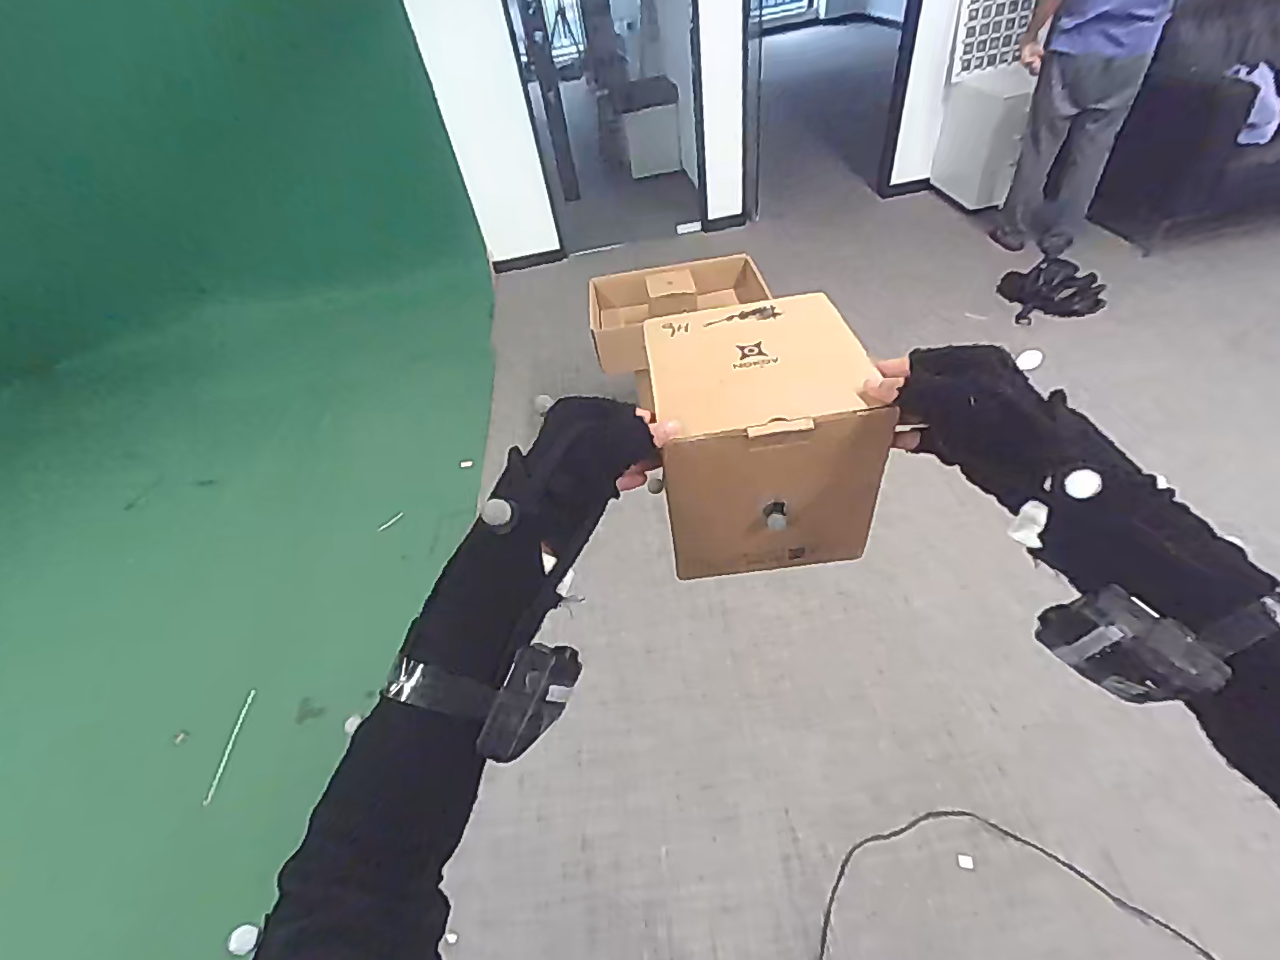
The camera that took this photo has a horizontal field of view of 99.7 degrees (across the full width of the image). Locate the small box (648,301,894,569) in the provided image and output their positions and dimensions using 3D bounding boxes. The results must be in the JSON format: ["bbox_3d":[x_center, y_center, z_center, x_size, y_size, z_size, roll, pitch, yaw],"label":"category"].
[{"bbox_3d":[0.103,-0.034,0.488,0.168,0.176,0.179,-8,44,3],"label":"small box"}]

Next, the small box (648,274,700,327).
[{"bbox_3d":[0.126,-0.625,1.972,0.168,0.176,0.179,-8,43,1],"label":"small box"}]
